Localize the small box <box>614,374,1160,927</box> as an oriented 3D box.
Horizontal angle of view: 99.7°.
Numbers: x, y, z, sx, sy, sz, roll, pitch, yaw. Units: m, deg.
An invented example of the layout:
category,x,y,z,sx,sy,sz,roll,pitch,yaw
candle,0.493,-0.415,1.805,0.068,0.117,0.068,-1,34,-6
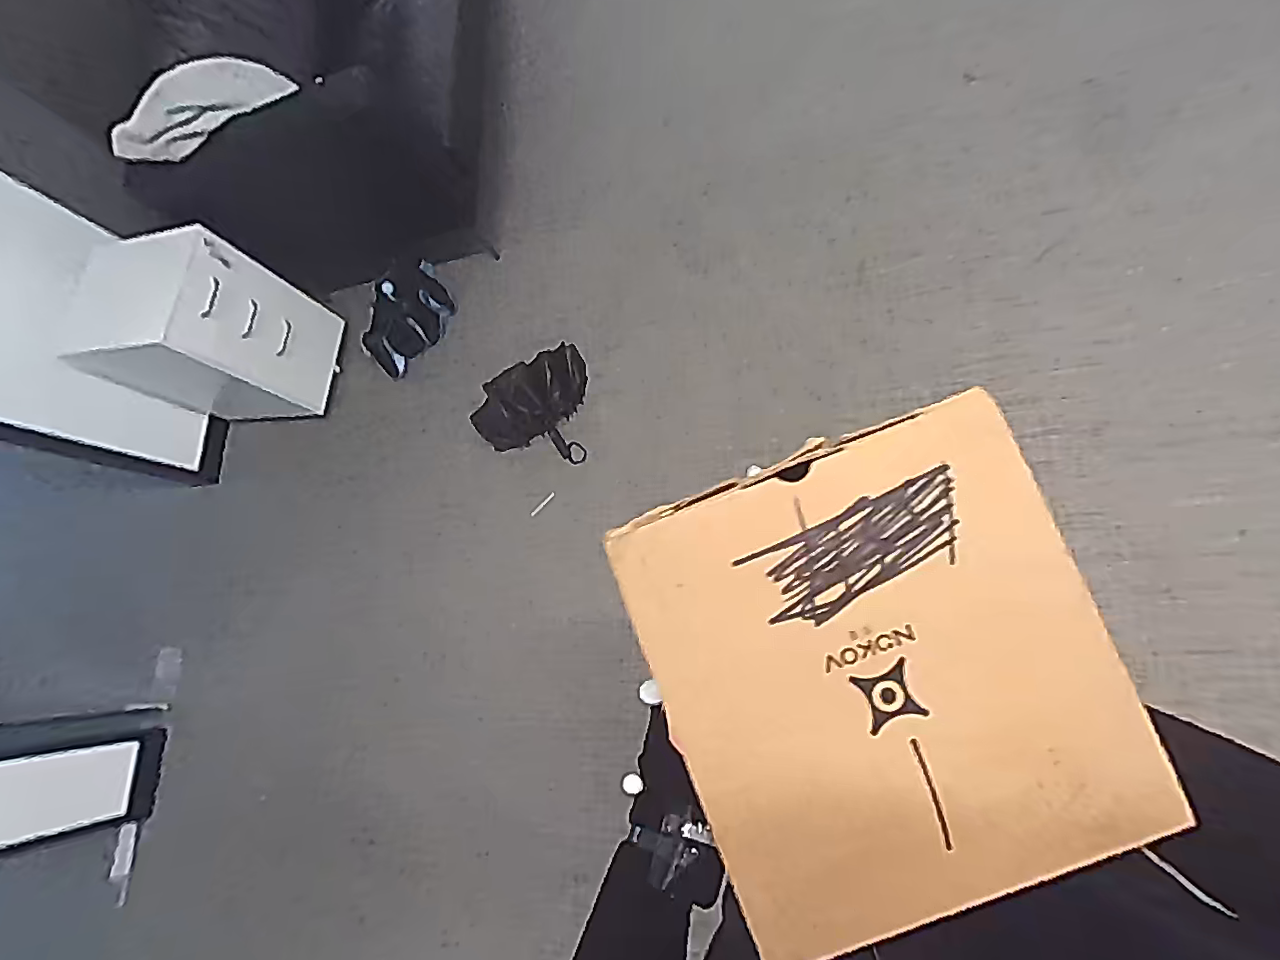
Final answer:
category,x,y,z,sx,sy,sz,roll,pitch,yaw
small box,0.096,0.071,0.295,0.168,0.176,0.179,-22,84,1
